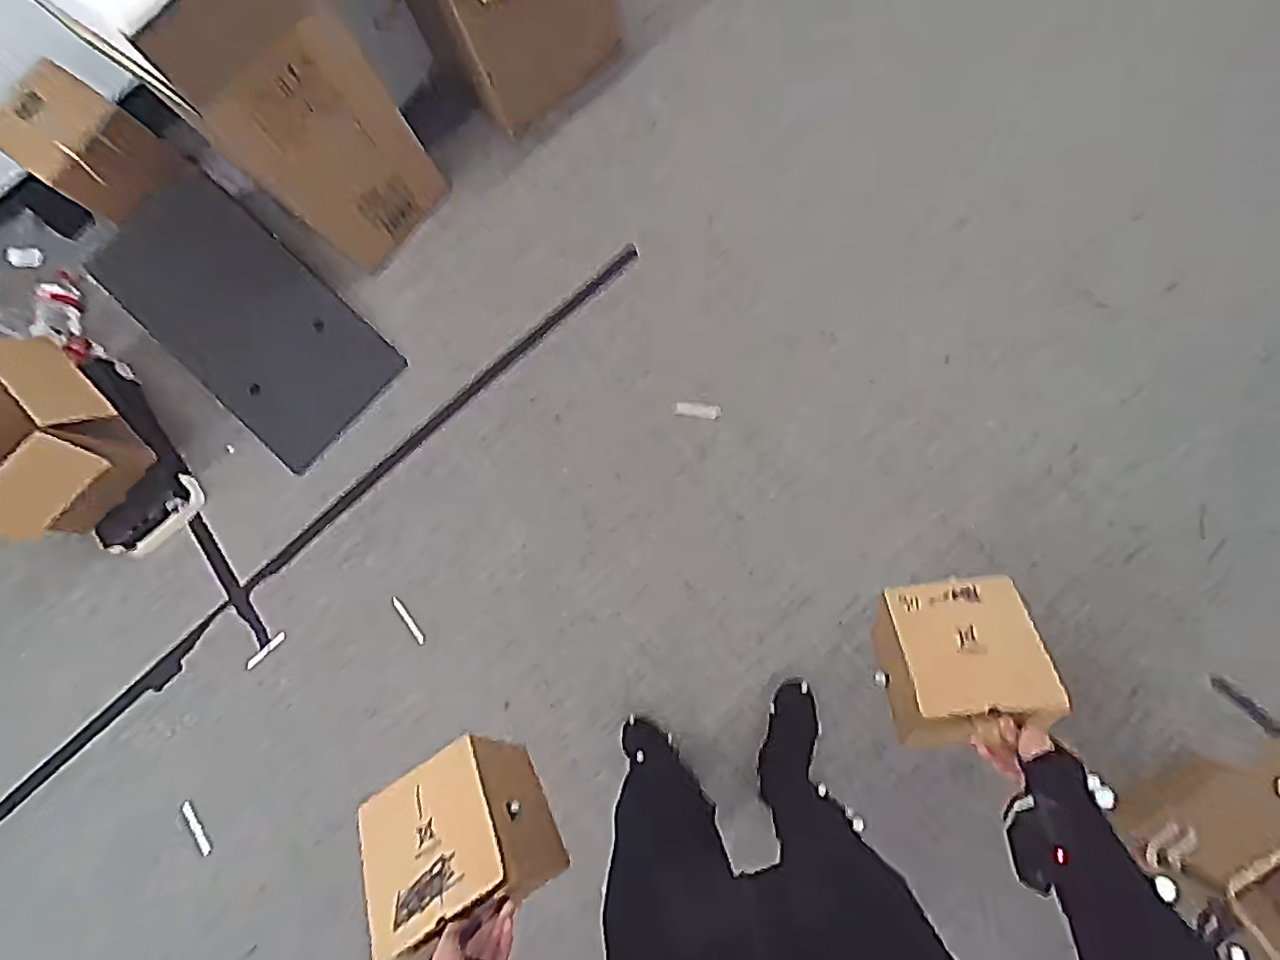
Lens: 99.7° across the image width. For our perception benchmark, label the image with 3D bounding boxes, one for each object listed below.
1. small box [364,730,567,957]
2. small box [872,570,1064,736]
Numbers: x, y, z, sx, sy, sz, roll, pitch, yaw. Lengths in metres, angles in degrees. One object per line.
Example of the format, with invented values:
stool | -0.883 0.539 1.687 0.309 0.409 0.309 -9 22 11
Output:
small box | -0.219 0.458 0.704 0.168 0.176 0.179 -33 55 -4
small box | 0.435 0.249 0.754 0.168 0.176 0.179 -8 51 10
